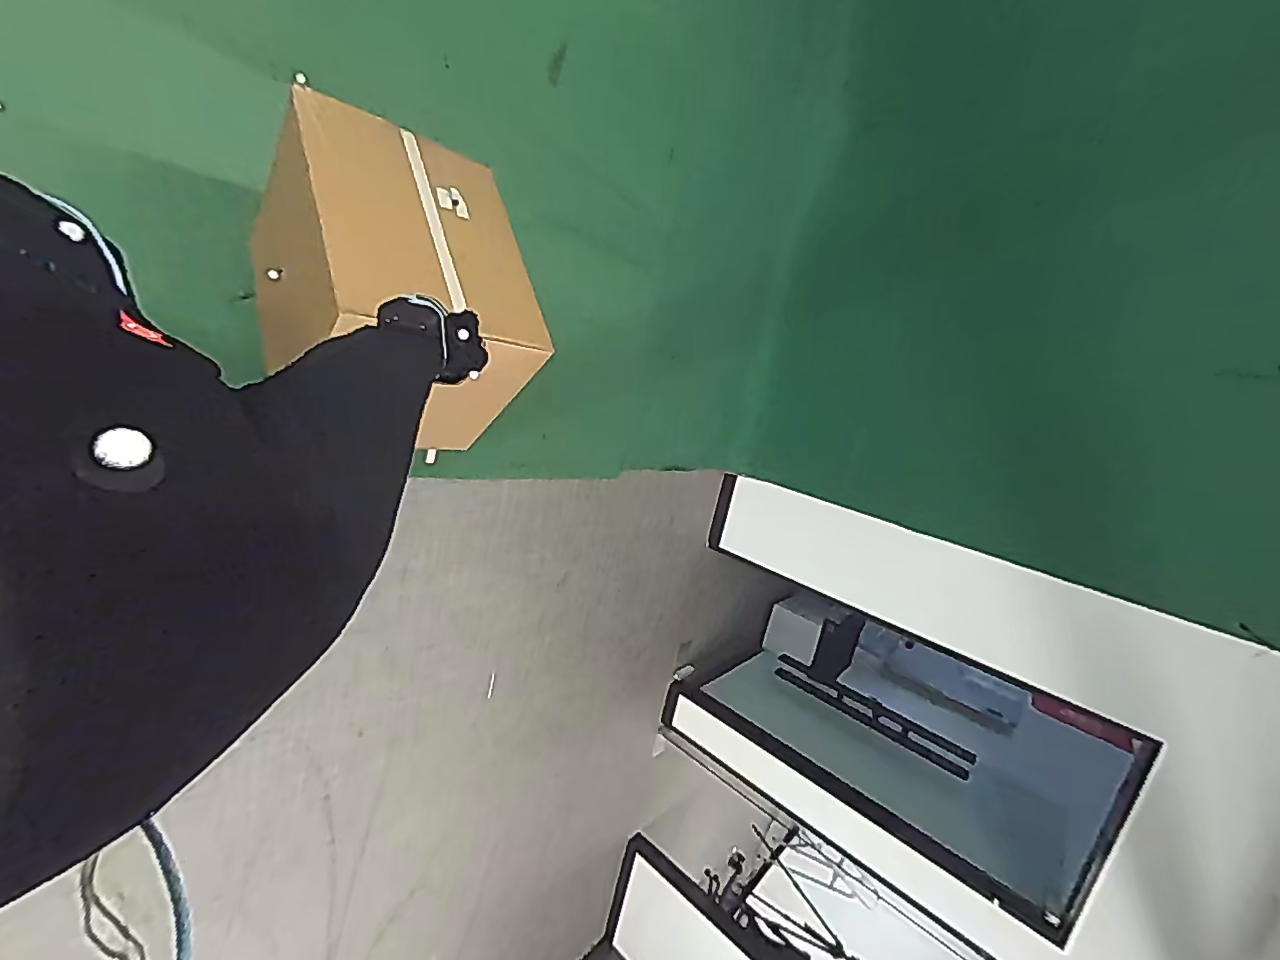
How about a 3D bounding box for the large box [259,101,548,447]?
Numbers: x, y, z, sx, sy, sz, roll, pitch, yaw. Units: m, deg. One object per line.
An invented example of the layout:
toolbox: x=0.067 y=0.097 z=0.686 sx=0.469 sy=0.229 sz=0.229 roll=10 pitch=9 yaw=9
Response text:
large box: x=-0.411 y=-0.300 z=0.907 sx=0.320 sy=0.408 sz=0.320 roll=-1 pitch=152 yaw=-46
